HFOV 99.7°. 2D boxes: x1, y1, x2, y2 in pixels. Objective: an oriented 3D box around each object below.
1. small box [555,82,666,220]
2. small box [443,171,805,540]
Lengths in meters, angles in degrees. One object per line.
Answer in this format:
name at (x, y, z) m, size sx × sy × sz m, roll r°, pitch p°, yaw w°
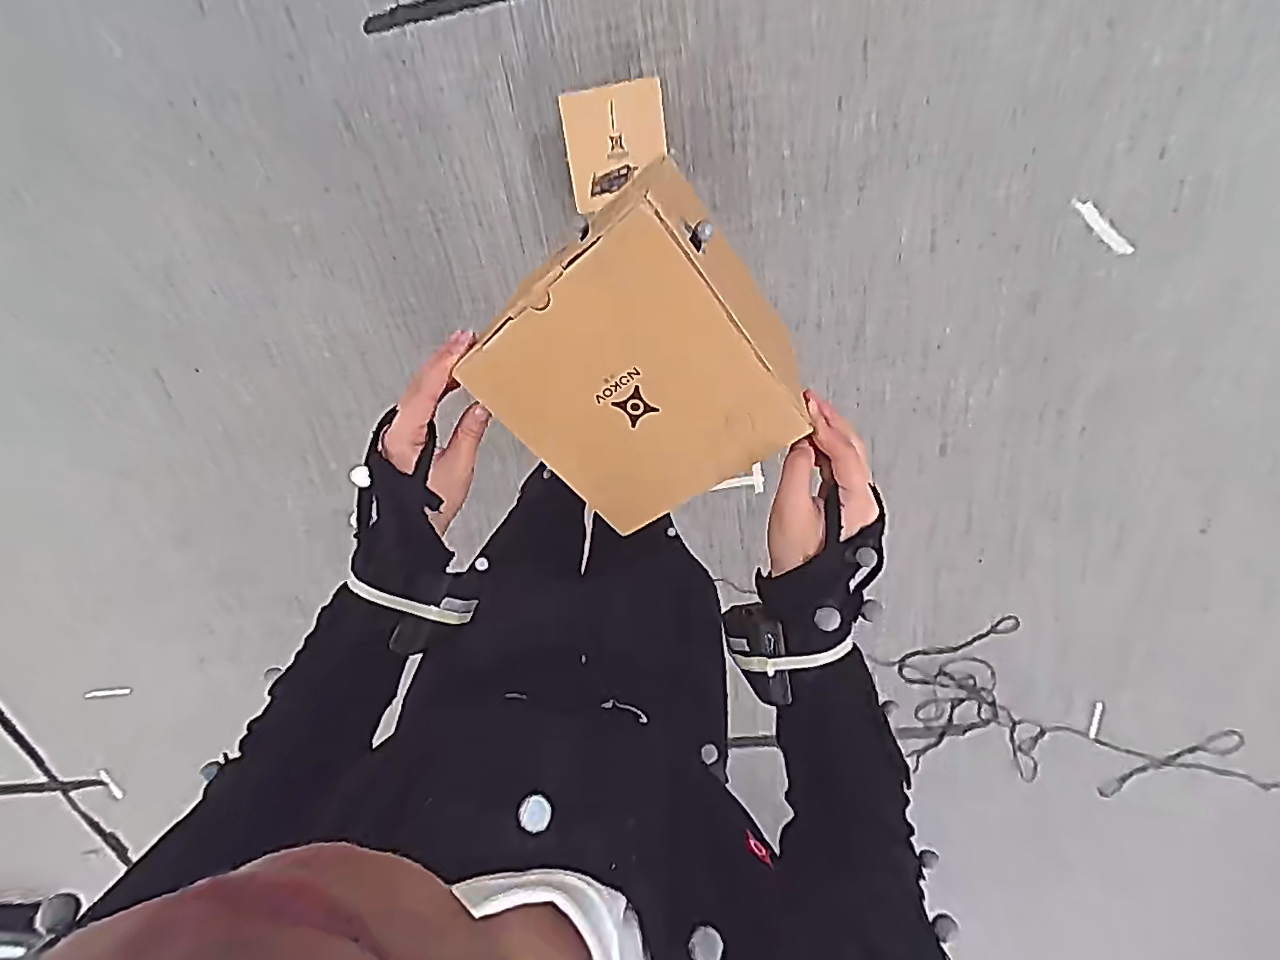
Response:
small box at (-0.040, -0.563, 0.952) m, size 0.168 × 0.176 × 0.179 m, roll -7°, pitch 113°, yaw 5°
small box at (-0.001, -0.094, 0.402) m, size 0.168 × 0.176 × 0.179 m, roll -32°, pitch 116°, yaw 27°
